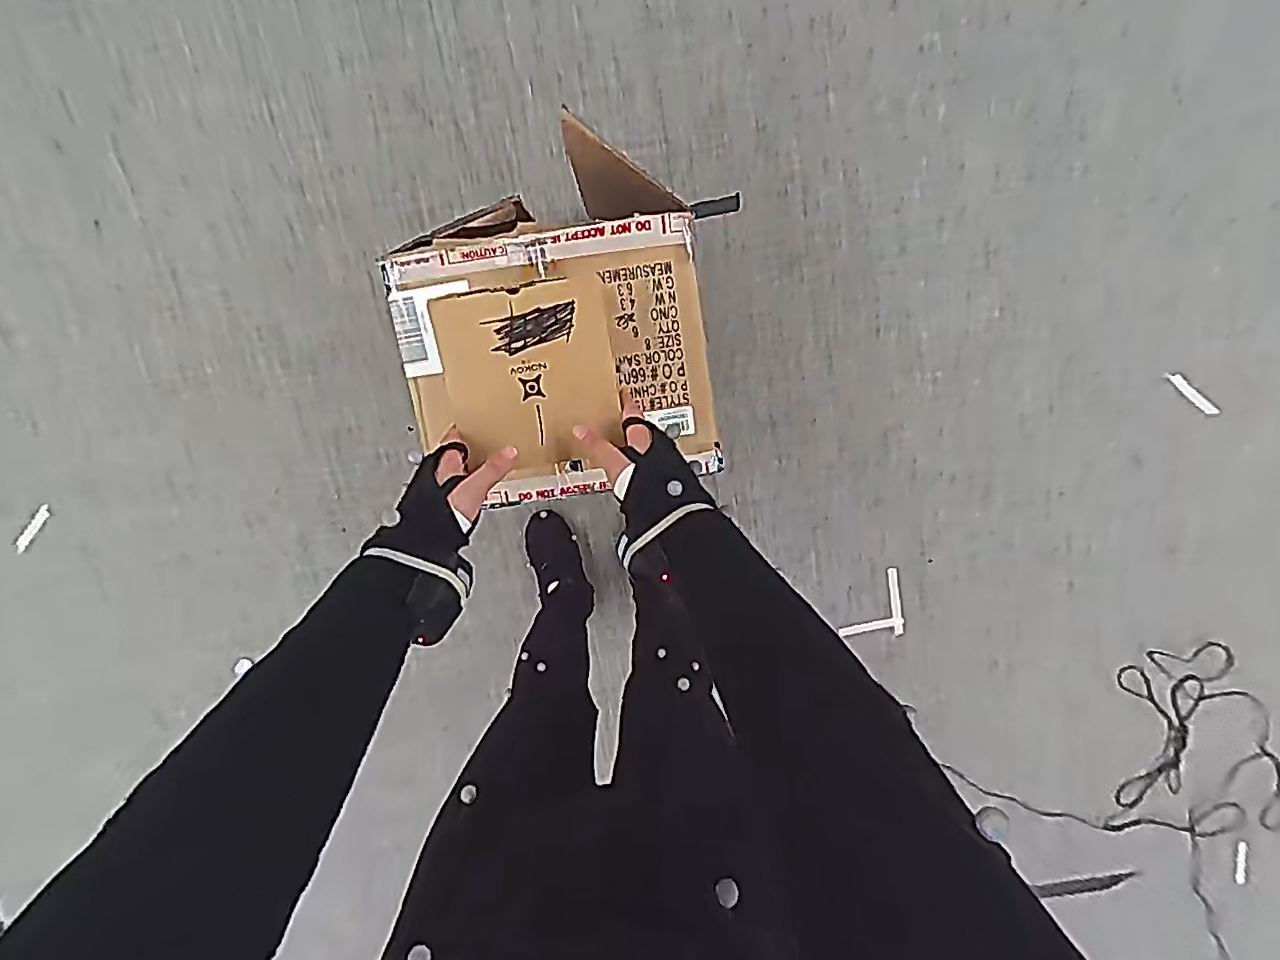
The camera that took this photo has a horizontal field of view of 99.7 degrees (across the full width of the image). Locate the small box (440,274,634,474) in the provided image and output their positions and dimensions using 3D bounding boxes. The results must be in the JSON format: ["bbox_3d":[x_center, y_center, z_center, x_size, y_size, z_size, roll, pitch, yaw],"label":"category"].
[{"bbox_3d":[-0.102,-0.119,0.609,0.168,0.176,0.179,-9,104,0],"label":"small box"}]
